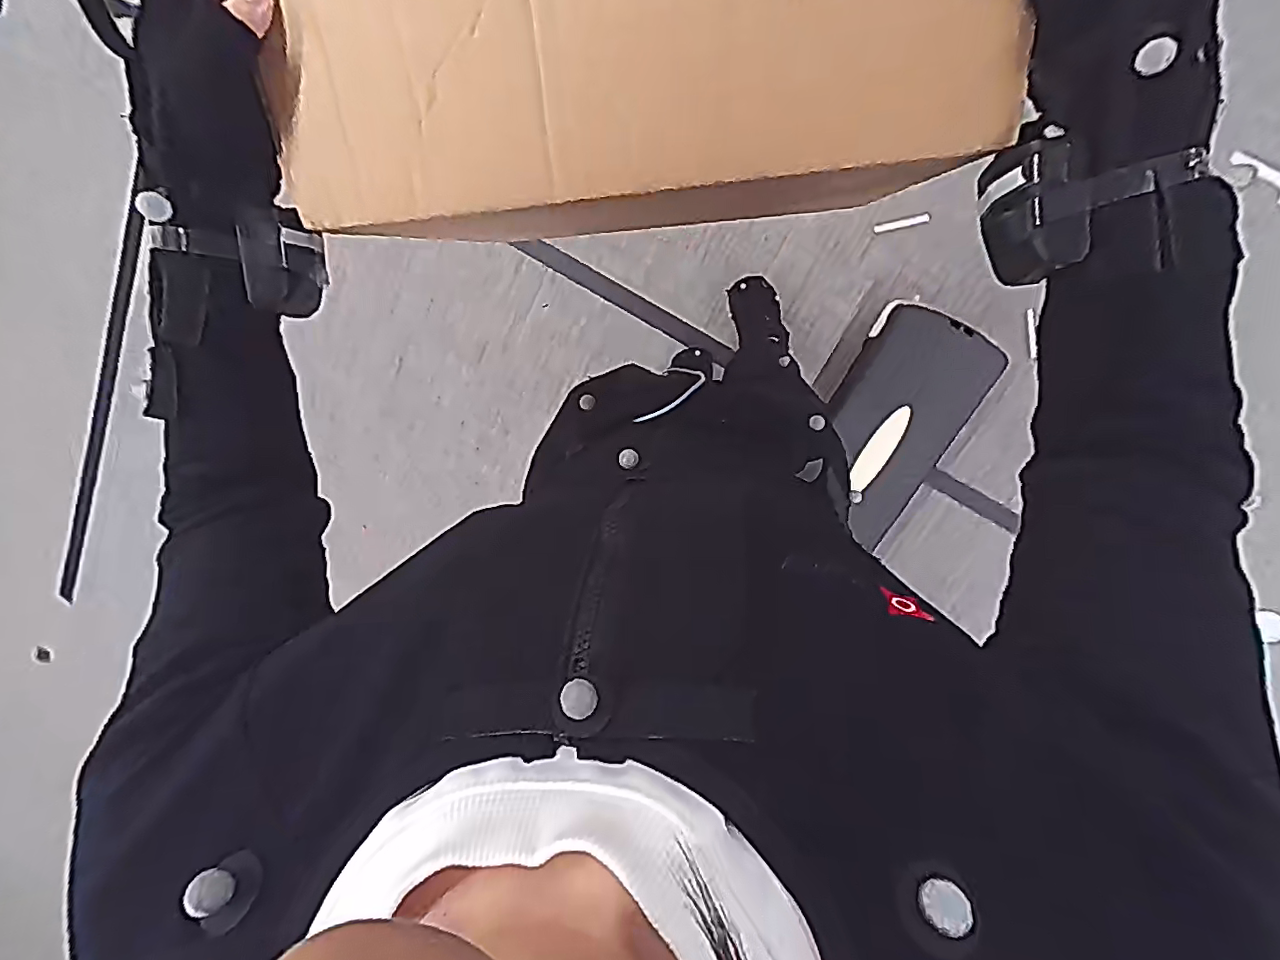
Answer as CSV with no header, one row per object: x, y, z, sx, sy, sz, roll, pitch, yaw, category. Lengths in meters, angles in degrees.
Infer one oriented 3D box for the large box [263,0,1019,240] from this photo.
-0.003,-0.373,0.396,0.408,0.320,0.320,-3,112,9,large box
